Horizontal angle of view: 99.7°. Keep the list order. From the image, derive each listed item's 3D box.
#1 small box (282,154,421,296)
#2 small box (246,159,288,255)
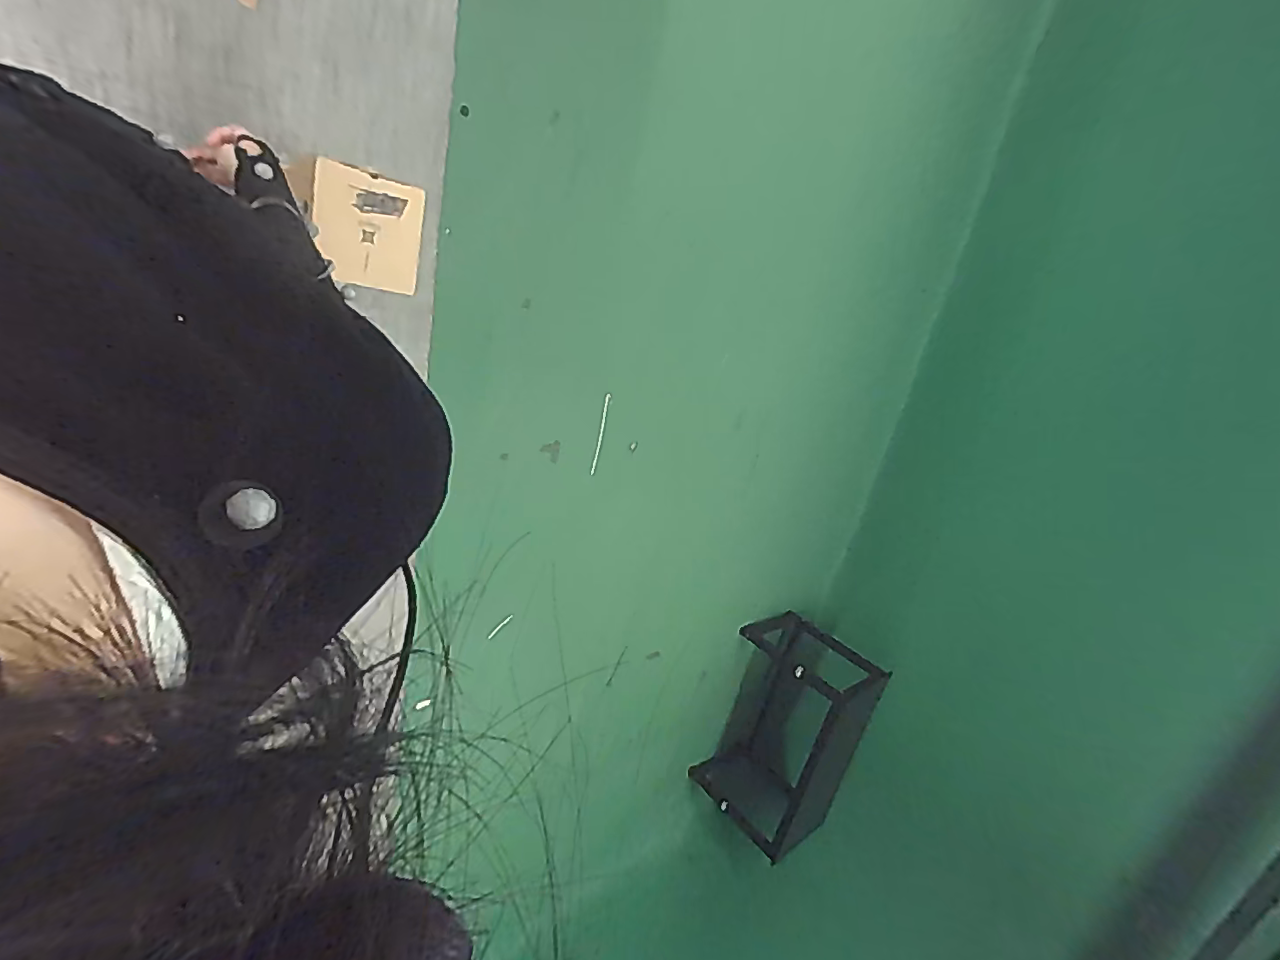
[{"bbox_3d":[-0.499,-0.434,0.928,0.168,0.176,0.179,-2,115,-44],"label":"small box"},{"bbox_3d":[-0.712,-0.552,1.149,0.179,0.176,0.168,9,106,-46],"label":"small box"}]
